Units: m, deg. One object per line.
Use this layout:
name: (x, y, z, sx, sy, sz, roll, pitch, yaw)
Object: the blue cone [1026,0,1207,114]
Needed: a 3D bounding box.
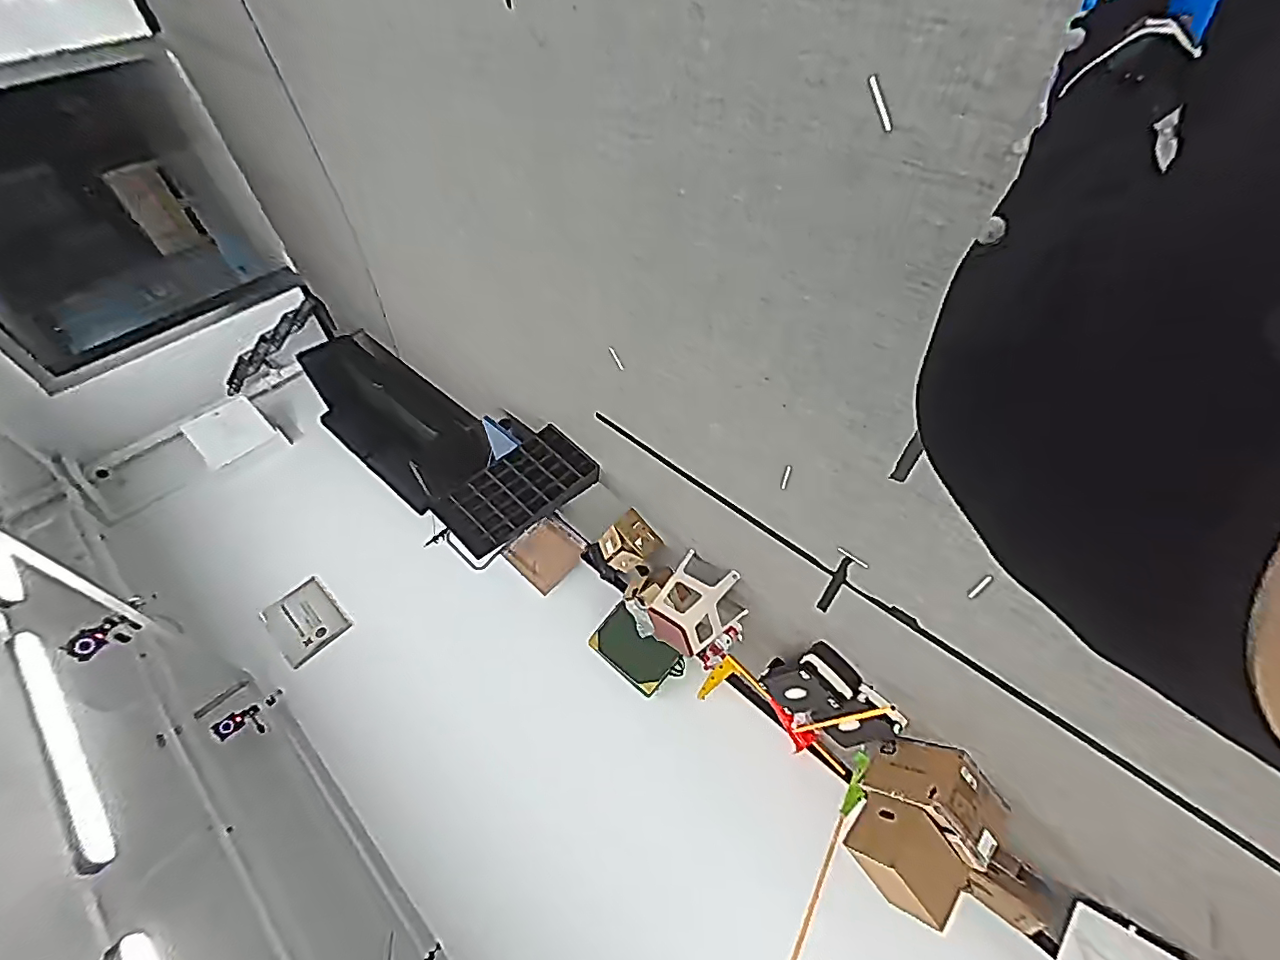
blue cone: (0.729, -0.669, 0.878, 0.192, 0.380, 0.193, 35, 149, 29)
